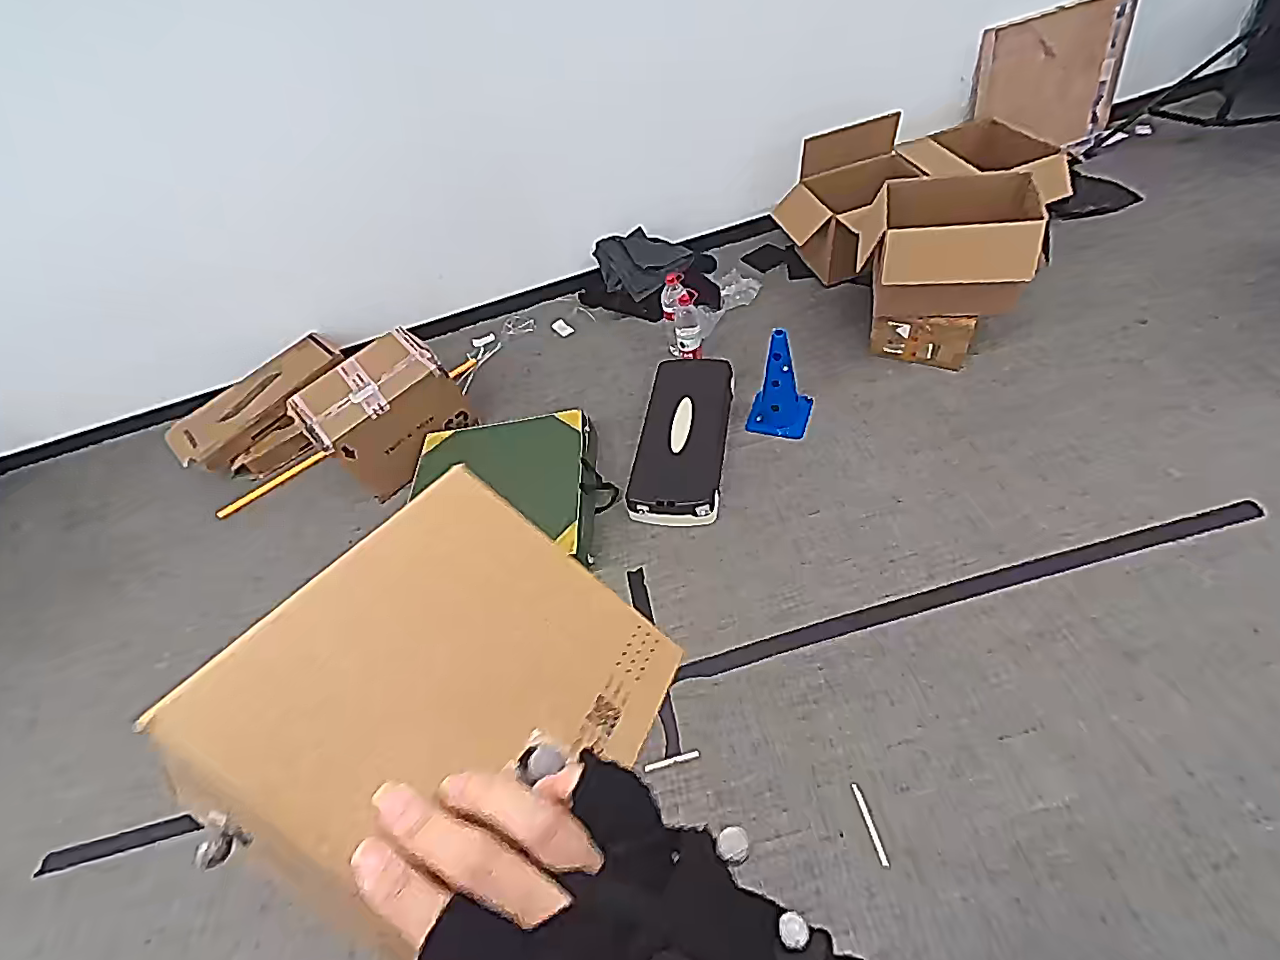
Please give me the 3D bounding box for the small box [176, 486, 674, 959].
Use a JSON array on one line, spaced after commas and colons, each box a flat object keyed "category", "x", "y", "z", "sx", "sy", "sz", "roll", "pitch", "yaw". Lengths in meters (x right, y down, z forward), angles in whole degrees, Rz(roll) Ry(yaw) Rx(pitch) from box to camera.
[{"category": "small box", "x": -0.111, "y": 0.144, "z": 0.316, "sx": 0.176, "sy": 0.179, "sz": 0.168, "roll": 38, "pitch": 44, "yaw": -3}]
